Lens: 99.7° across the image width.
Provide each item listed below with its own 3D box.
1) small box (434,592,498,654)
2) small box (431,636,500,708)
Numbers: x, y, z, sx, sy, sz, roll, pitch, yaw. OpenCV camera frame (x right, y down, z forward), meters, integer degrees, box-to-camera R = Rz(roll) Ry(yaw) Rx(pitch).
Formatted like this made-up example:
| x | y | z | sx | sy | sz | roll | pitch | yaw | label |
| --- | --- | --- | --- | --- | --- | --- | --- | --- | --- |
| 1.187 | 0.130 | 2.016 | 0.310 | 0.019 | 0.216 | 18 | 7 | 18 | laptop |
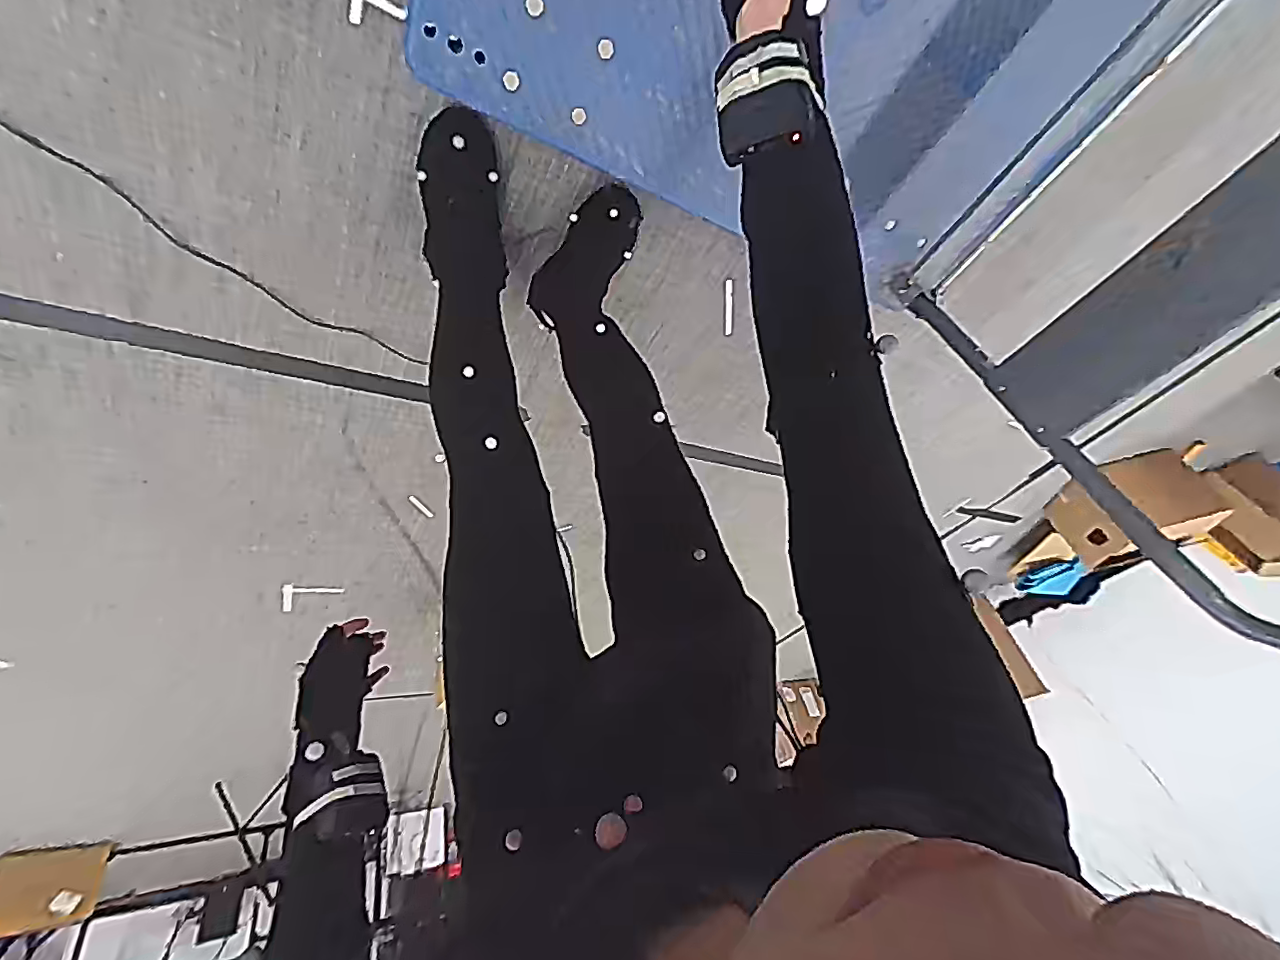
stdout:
| x | y | z | sx | sy | sz | roll | pitch | yaw | label |
| --- | --- | --- | --- | --- | --- | --- | --- | --- | --- |
| -0.594 | 0.490 | 1.828 | 0.179 | 0.176 | 0.168 | 6 | 140 | -29 | small box |
| -0.557 | 0.610 | 1.722 | 0.168 | 0.176 | 0.179 | 11 | 138 | -34 | small box |
